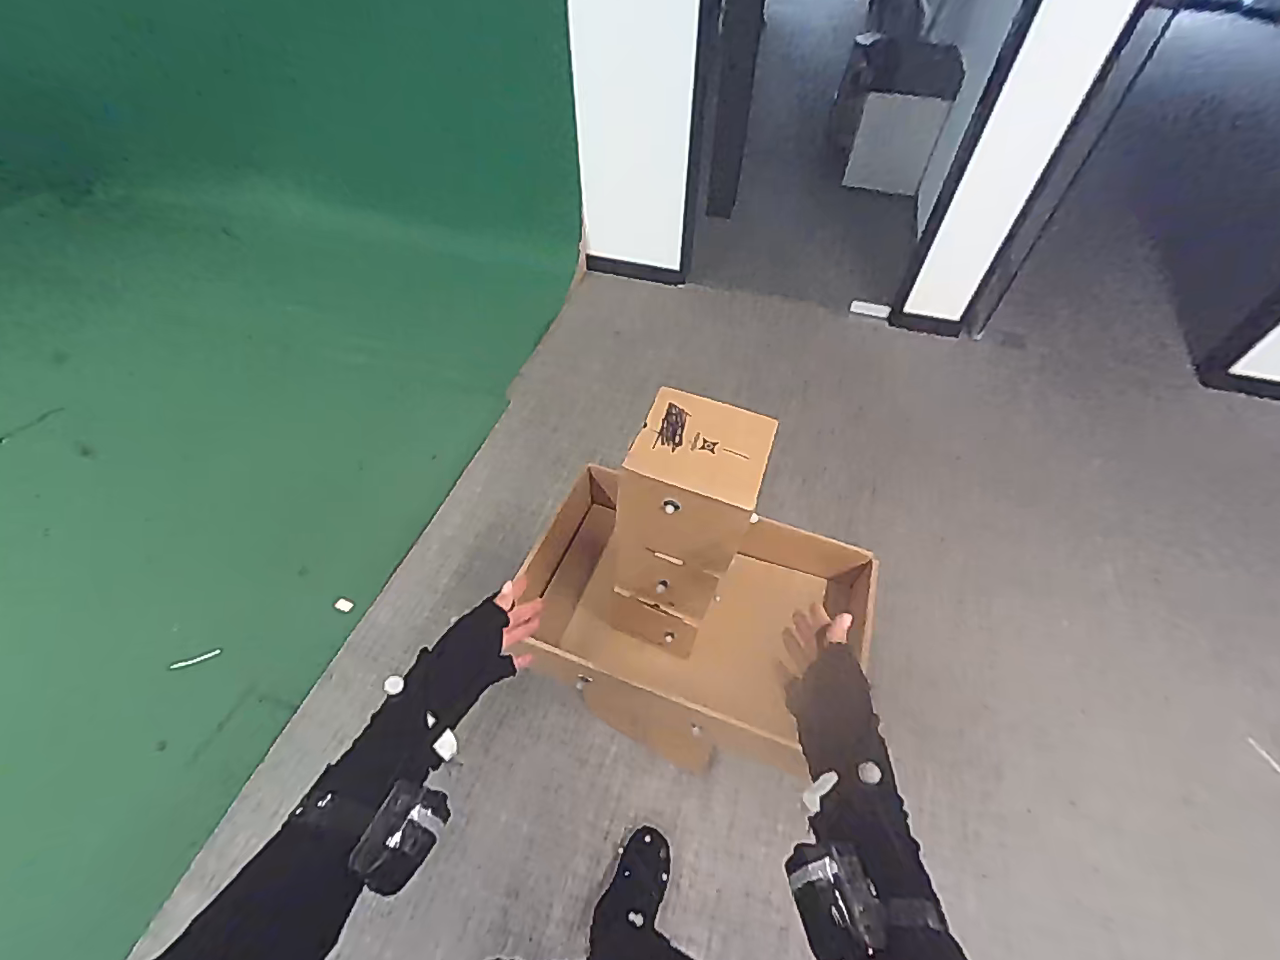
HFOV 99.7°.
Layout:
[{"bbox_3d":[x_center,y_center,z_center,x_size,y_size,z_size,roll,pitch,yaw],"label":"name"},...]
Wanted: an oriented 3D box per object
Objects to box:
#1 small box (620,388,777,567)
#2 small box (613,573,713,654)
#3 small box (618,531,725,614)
[{"bbox_3d":[0.078,0.001,0.782,0.179,0.176,0.168,19,54,9],"label":"small box"},{"bbox_3d":[0.057,0.206,1.039,0.168,0.176,0.179,21,52,11],"label":"small box"},{"bbox_3d":[0.071,0.100,0.914,0.168,0.176,0.179,21,55,11],"label":"small box"}]
